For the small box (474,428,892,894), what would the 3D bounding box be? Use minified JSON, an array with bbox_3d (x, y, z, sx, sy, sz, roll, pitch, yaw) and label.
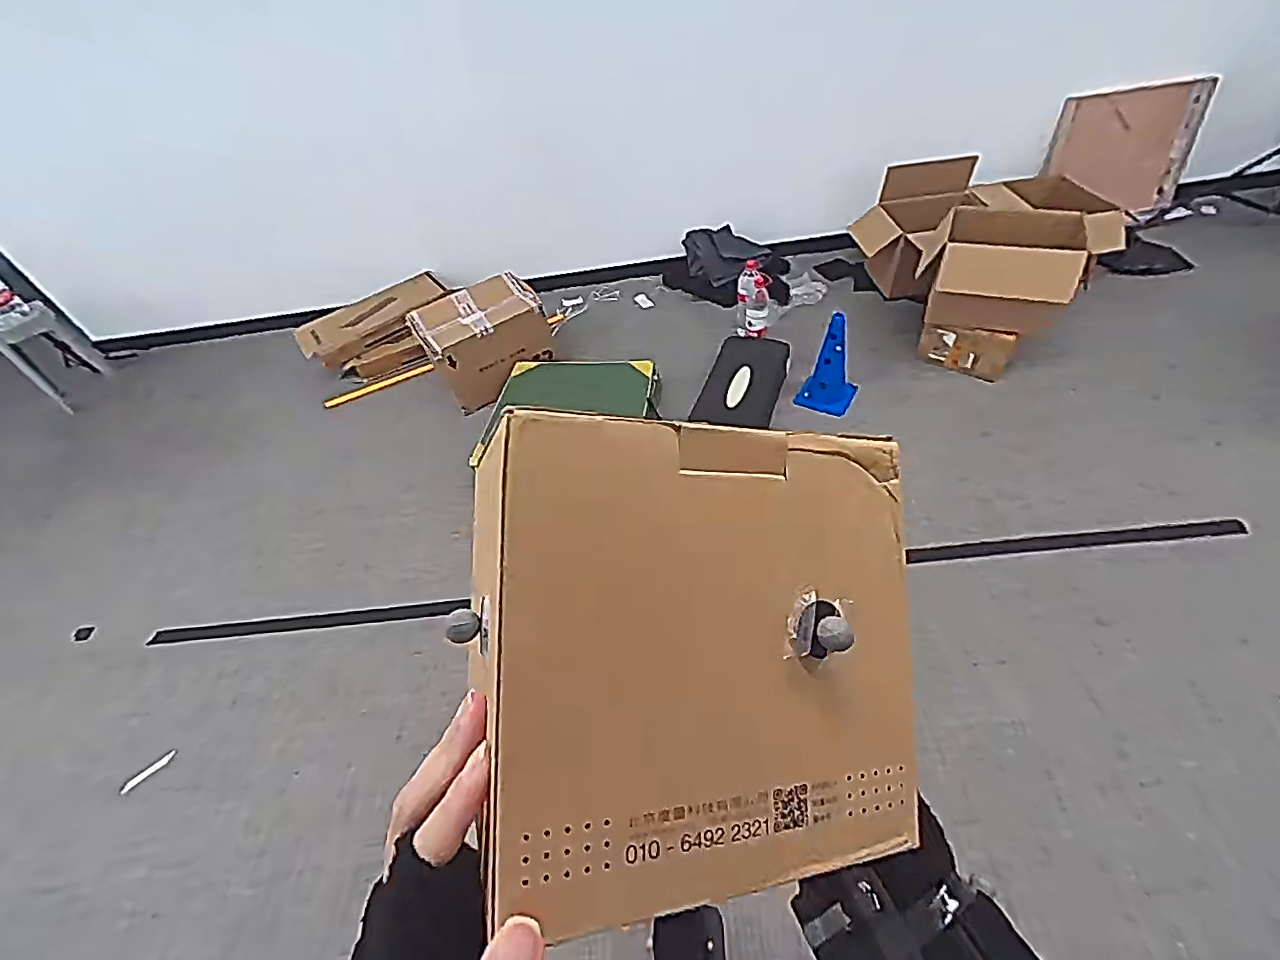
[{"bbox_3d":[0.005,0.073,0.277,0.168,0.179,0.176,2,84,-18],"label":"small box"}]
